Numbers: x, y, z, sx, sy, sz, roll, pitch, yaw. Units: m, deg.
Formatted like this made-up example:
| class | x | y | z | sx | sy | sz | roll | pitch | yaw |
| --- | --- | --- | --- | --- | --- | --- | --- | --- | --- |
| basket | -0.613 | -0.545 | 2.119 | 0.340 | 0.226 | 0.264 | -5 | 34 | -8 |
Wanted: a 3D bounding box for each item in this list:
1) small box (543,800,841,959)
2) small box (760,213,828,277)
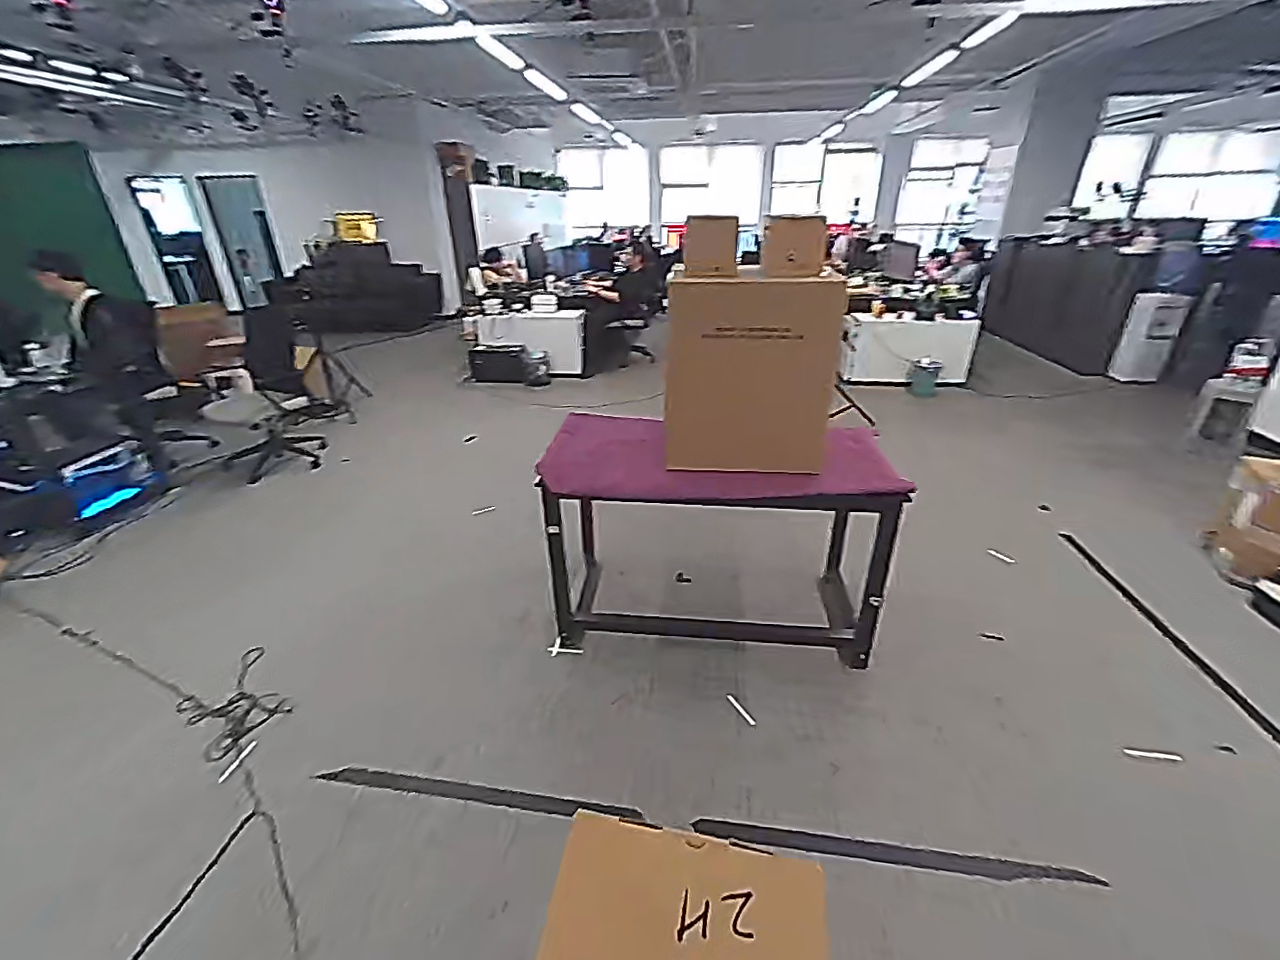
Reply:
| class | x | y | z | sx | sy | sz | roll | pitch | yaw |
| --- | --- | --- | --- | --- | --- | --- | --- | --- | --- |
| small box | 0.027 | 0.339 | 0.339 | 0.168 | 0.176 | 0.179 | 7 | 41 | 9 |
| small box | 0.469 | -0.726 | 1.668 | 0.168 | 0.176 | 0.179 | 0 | 28 | 4 |
